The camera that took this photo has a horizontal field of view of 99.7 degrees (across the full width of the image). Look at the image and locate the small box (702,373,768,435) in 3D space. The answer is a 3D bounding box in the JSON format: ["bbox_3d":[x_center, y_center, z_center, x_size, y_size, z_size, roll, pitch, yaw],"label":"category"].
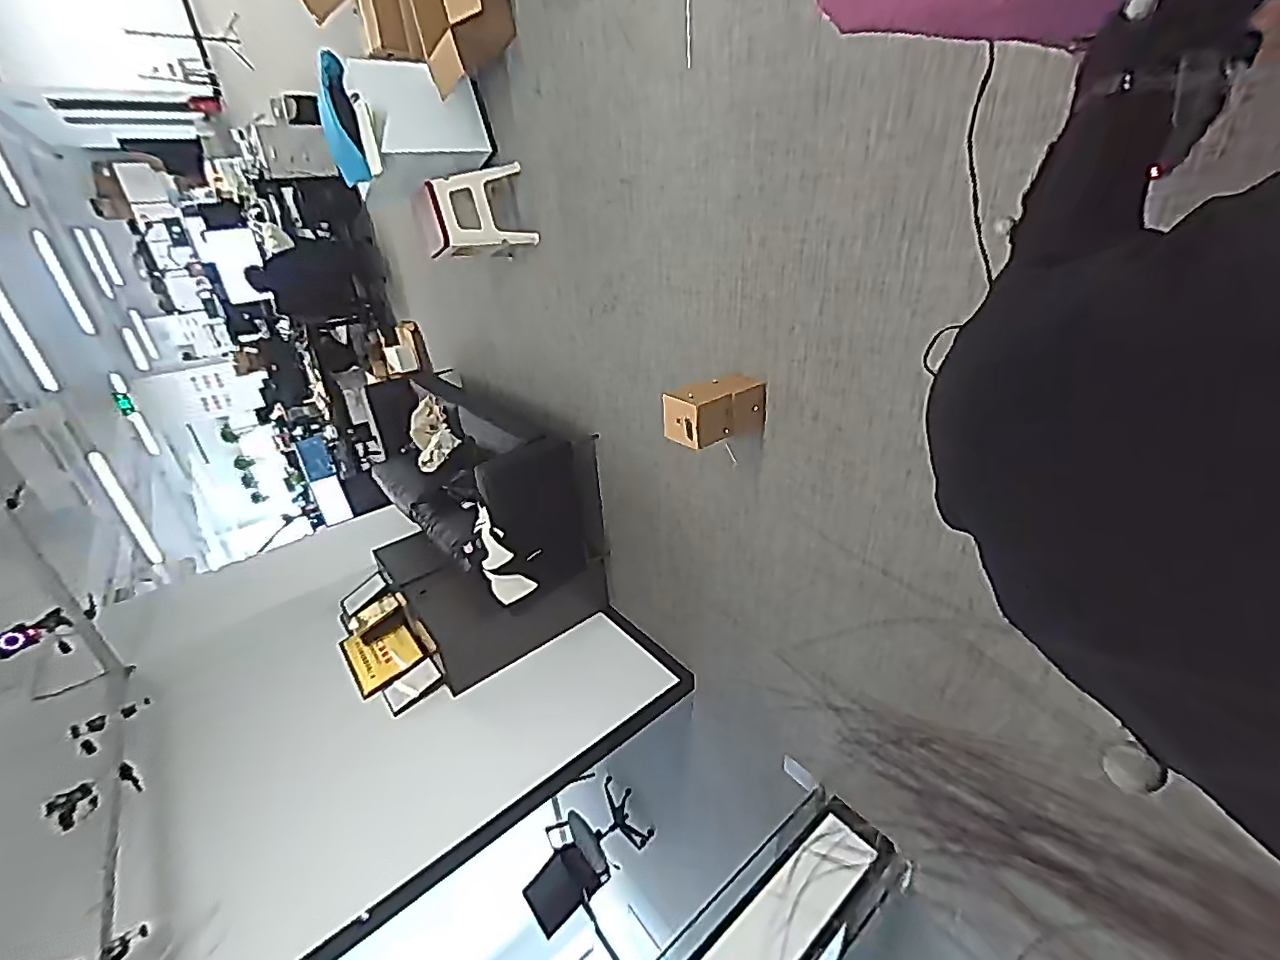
[{"bbox_3d":[0.346,-0.286,1.987,0.179,0.176,0.168,28,133,44],"label":"small box"}]

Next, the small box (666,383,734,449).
[{"bbox_3d":[0.214,-0.232,1.905,0.179,0.176,0.168,29,133,45],"label":"small box"}]
